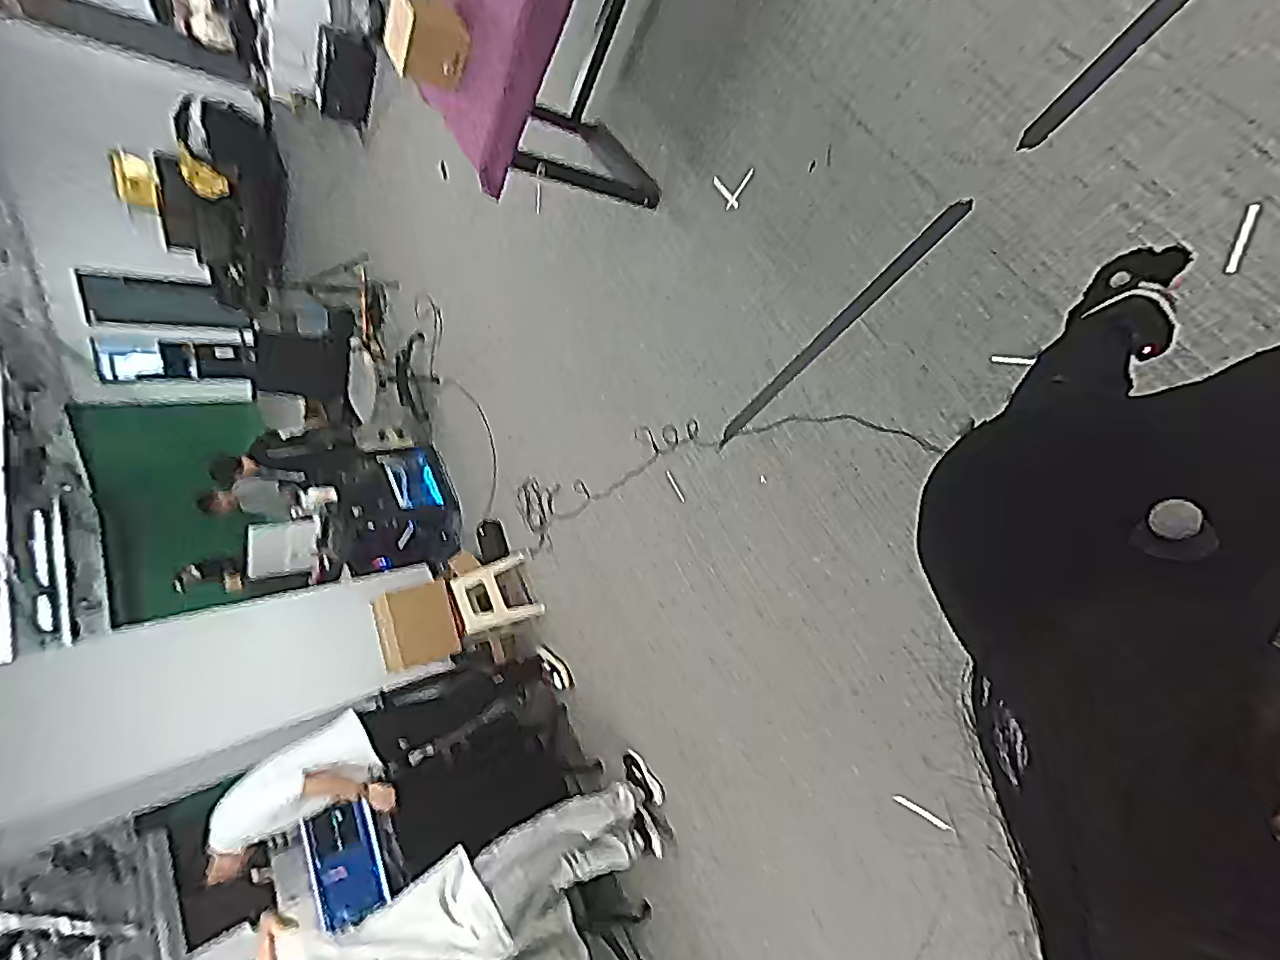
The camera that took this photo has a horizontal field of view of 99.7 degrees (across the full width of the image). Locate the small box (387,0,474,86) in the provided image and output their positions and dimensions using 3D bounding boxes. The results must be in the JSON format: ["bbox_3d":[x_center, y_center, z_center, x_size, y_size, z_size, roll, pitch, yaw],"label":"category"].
[{"bbox_3d":[-0.607,-1.290,1.564,0.168,0.176,0.179,-47,63,44],"label":"small box"}]
